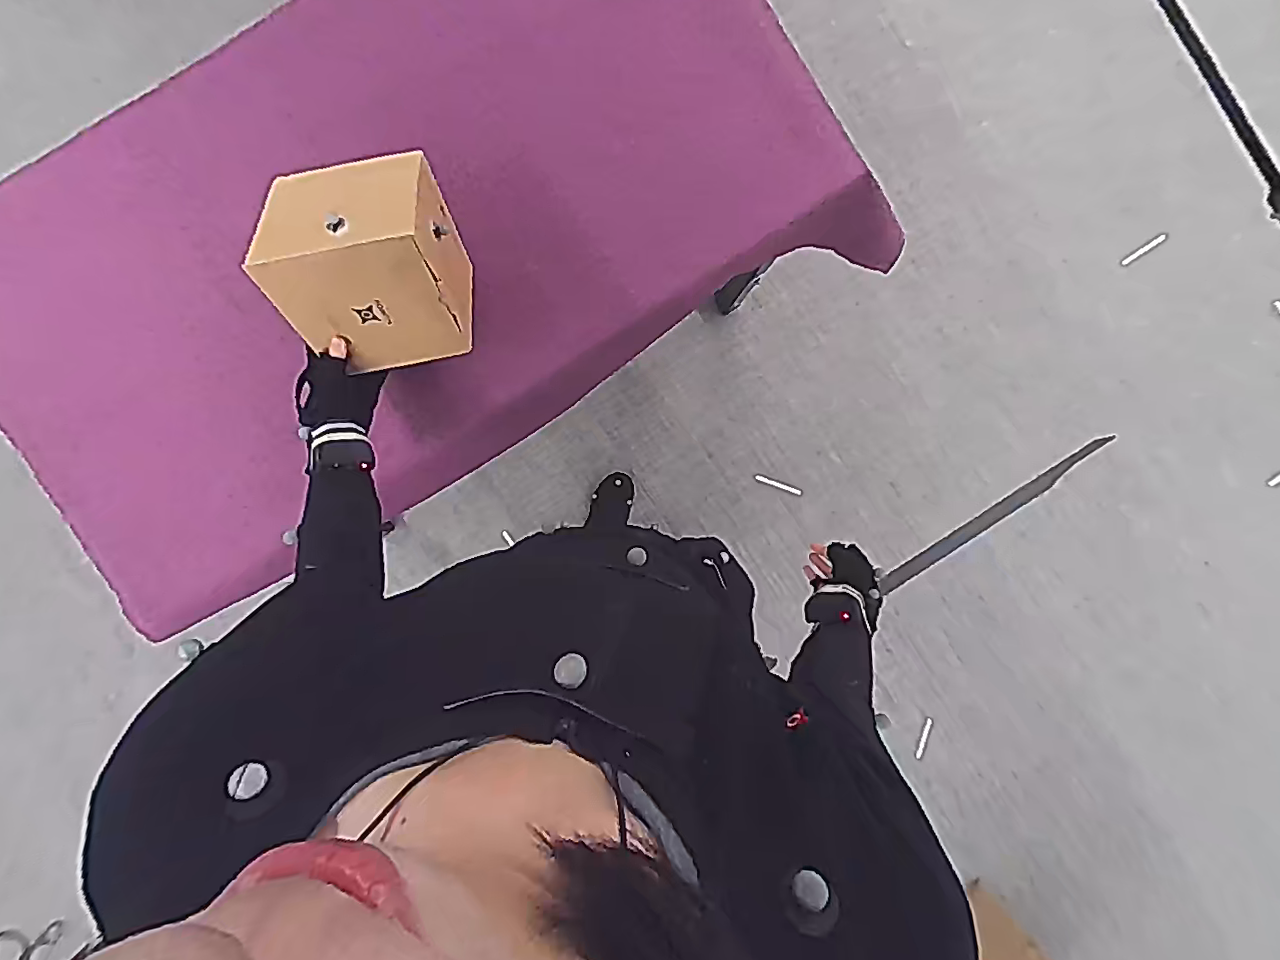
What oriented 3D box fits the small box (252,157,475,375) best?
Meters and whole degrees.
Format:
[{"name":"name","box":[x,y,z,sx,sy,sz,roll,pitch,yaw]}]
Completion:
[{"name":"small box","box":[-0.311,-0.256,0.650,0.179,0.168,0.176,-10,57,2]}]
